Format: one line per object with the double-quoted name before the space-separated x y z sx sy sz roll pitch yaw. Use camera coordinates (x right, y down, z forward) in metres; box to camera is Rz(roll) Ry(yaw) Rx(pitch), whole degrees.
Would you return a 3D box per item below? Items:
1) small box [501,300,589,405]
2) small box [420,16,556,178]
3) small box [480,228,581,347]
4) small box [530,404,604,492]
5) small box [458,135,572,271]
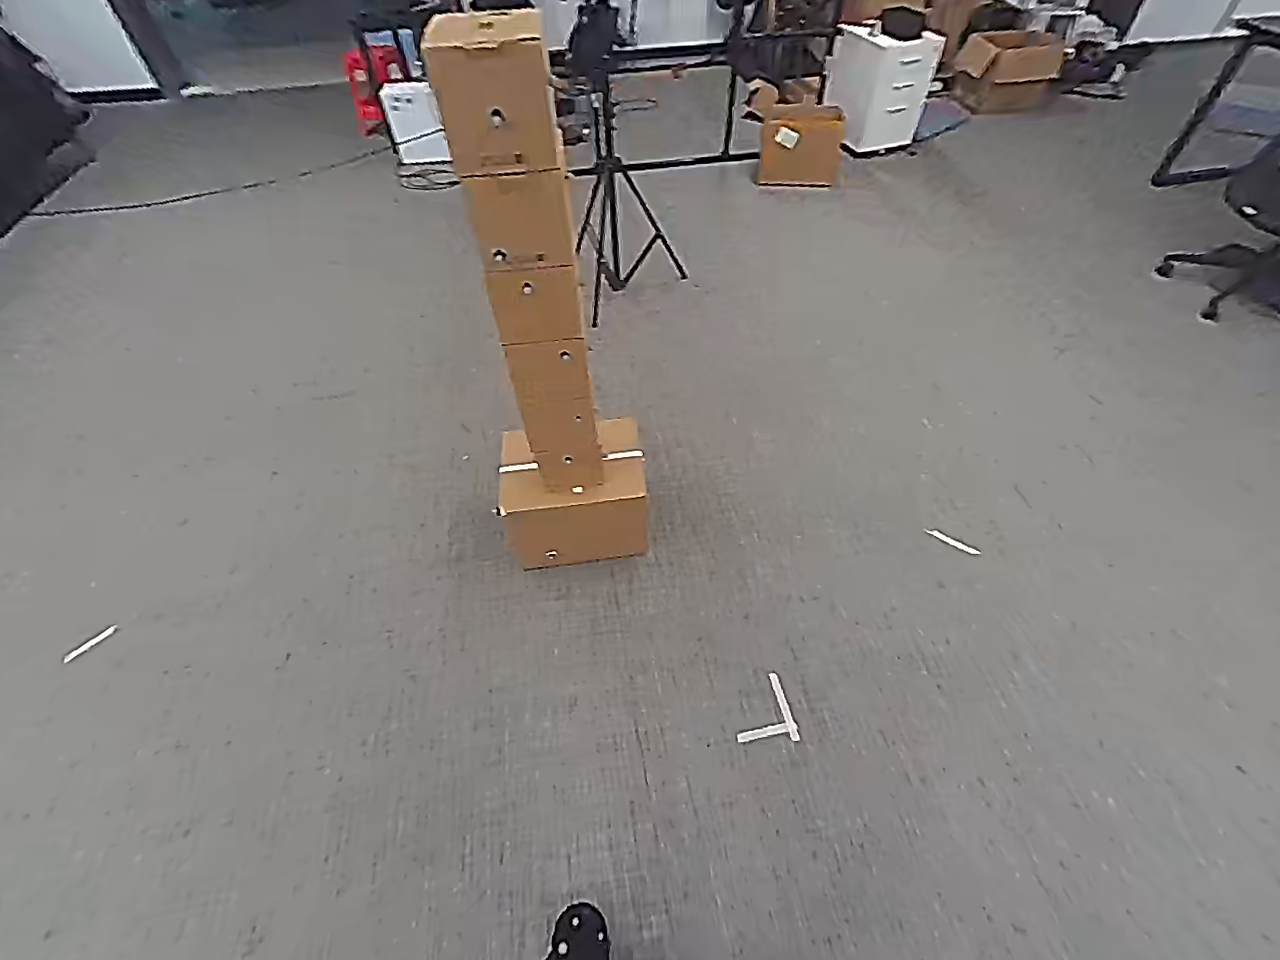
"small box" -0.210 -0.289 1.234 0.179 0.176 0.168 -6 51 -3
"small box" -0.227 -0.595 0.851 0.168 0.176 0.179 -7 53 -3
"small box" -0.215 -0.391 1.108 0.179 0.176 0.168 -6 52 -2
"small box" -0.199 -0.083 1.489 0.179 0.176 0.168 -8 52 -6
"small box" -0.216 -0.495 0.981 0.168 0.176 0.179 -6 51 -3
